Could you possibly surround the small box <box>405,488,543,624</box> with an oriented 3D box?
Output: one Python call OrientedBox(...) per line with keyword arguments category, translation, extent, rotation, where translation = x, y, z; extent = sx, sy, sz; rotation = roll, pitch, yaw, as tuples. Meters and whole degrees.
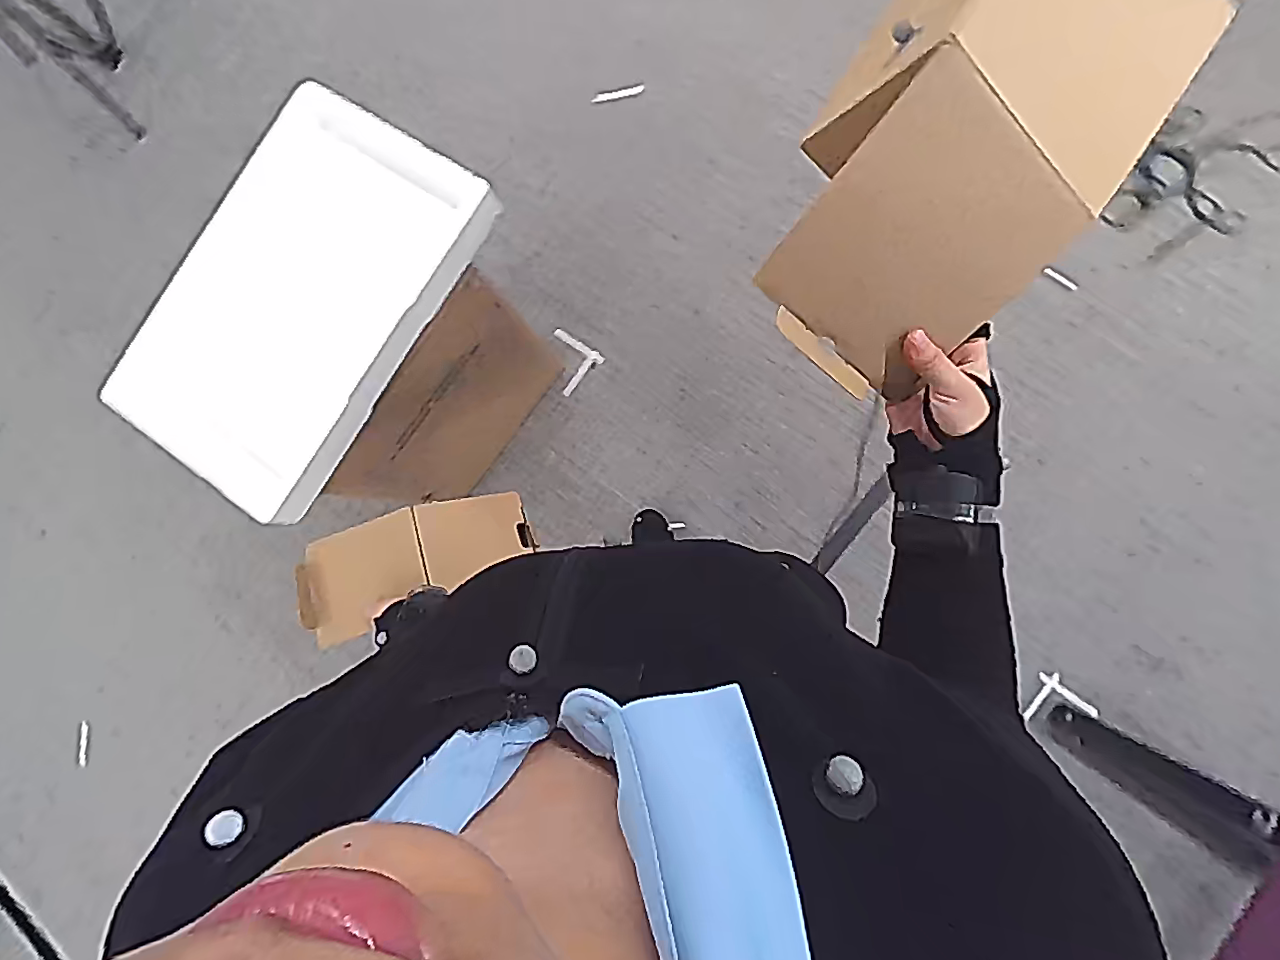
OrientedBox(category="small box", translation=(-0.285, 0.129, 0.901), extent=(0.179, 0.176, 0.168), rotation=(-7, 68, -33))
